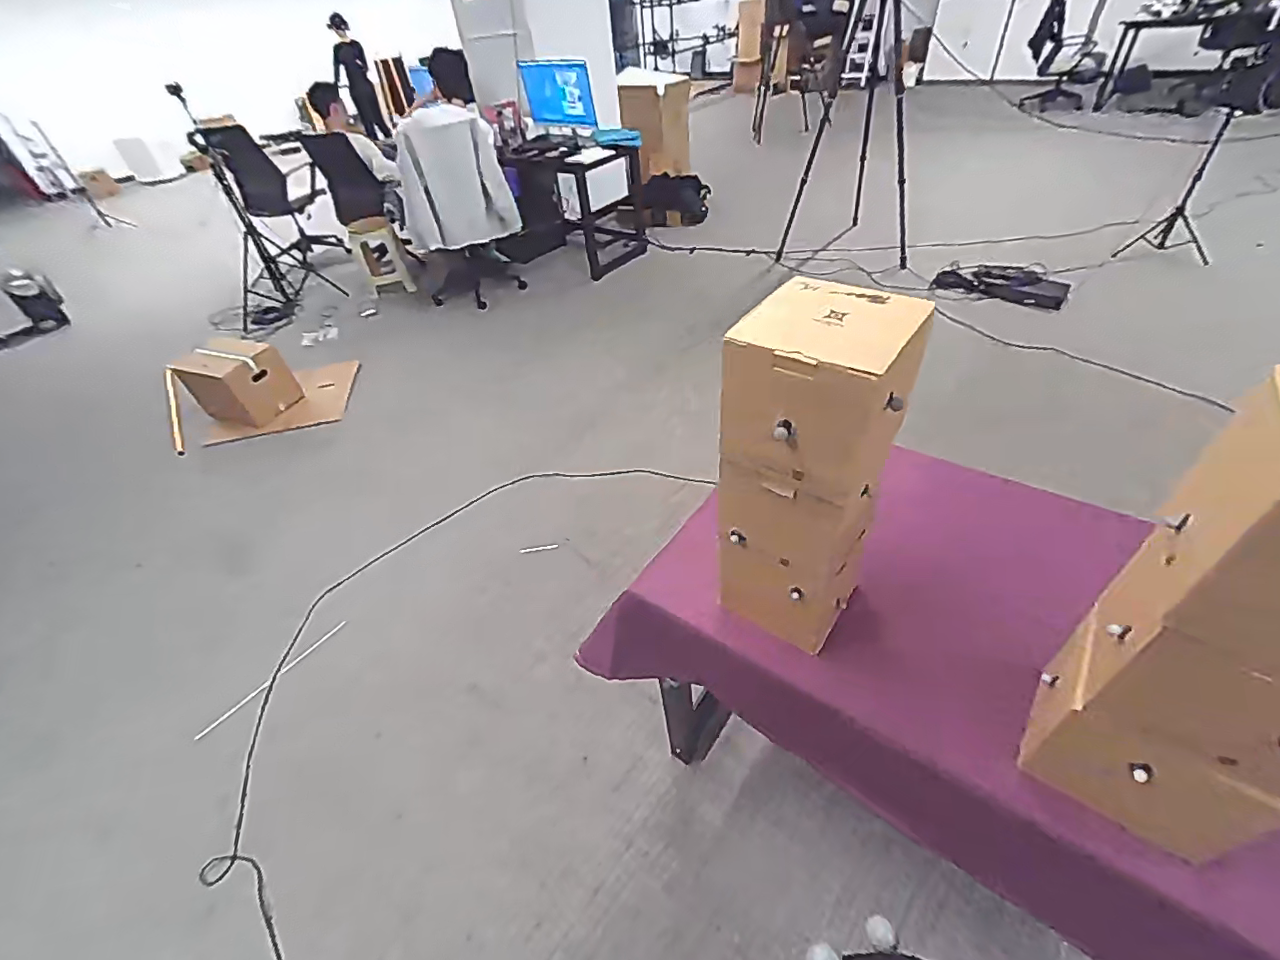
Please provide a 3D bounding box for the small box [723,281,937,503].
[{"bbox_3d":[0.210,-0.103,0.626,0.168,0.176,0.179,25,52,29],"label":"small box"}]

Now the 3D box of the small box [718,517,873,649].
[{"bbox_3d":[0.236,0.133,0.853,0.179,0.176,0.168,25,51,29],"label":"small box"}]

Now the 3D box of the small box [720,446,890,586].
[{"bbox_3d":[0.224,0.012,0.743,0.168,0.176,0.179,24,49,29],"label":"small box"}]

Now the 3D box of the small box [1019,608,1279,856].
[{"bbox_3d":[0.581,0.292,0.630,0.179,0.176,0.168,26,52,31],"label":"small box"}]

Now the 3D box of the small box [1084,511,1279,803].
[{"bbox_3d":[0.571,0.169,0.524,0.168,0.176,0.179,24,50,29],"label":"small box"}]
